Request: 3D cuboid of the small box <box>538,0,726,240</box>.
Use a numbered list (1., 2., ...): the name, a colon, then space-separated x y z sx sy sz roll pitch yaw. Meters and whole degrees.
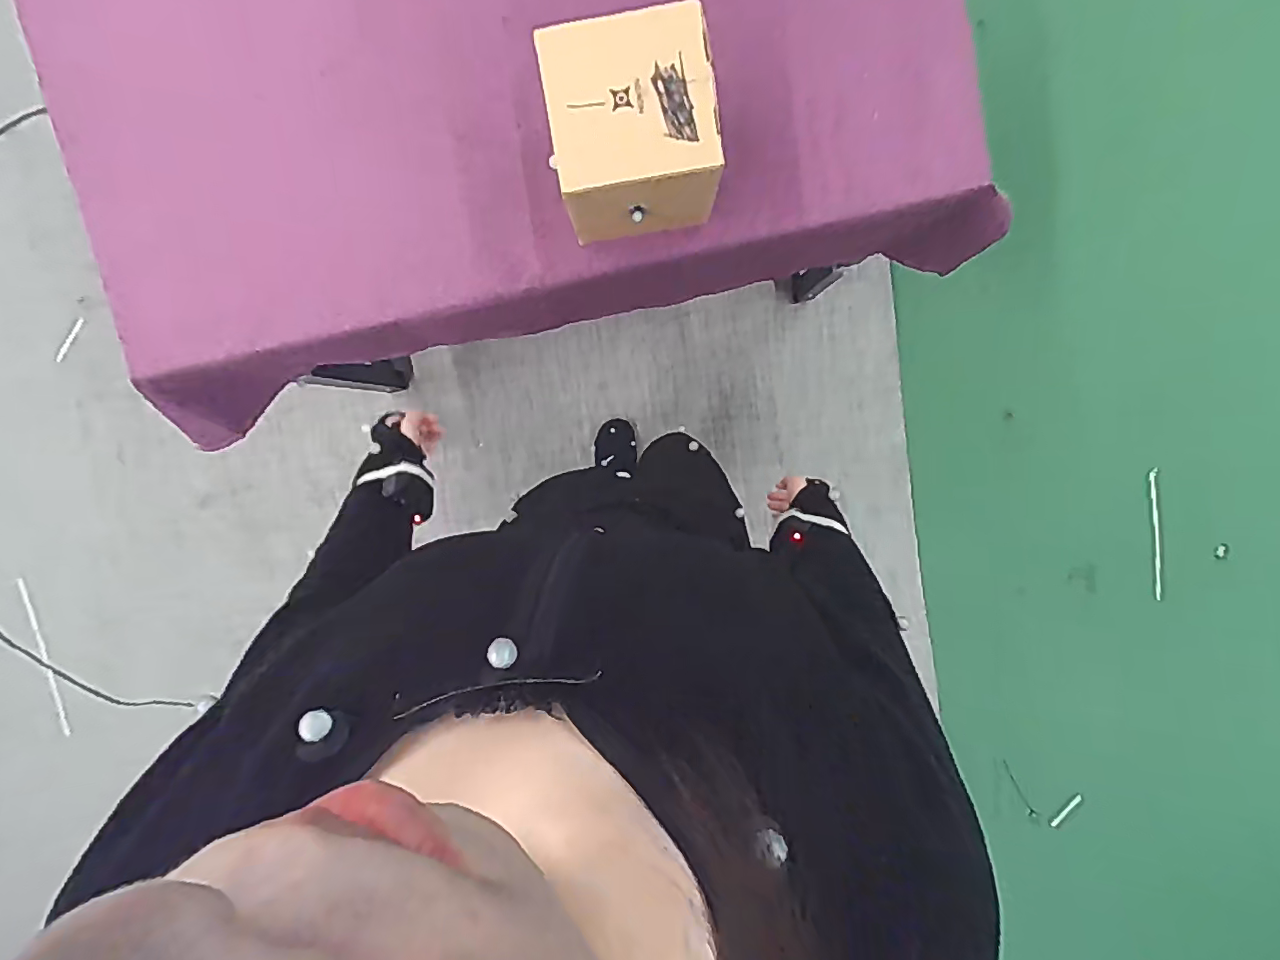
1. small box: -0.006 -0.402 0.634 0.179 0.176 0.168 -9 96 3
